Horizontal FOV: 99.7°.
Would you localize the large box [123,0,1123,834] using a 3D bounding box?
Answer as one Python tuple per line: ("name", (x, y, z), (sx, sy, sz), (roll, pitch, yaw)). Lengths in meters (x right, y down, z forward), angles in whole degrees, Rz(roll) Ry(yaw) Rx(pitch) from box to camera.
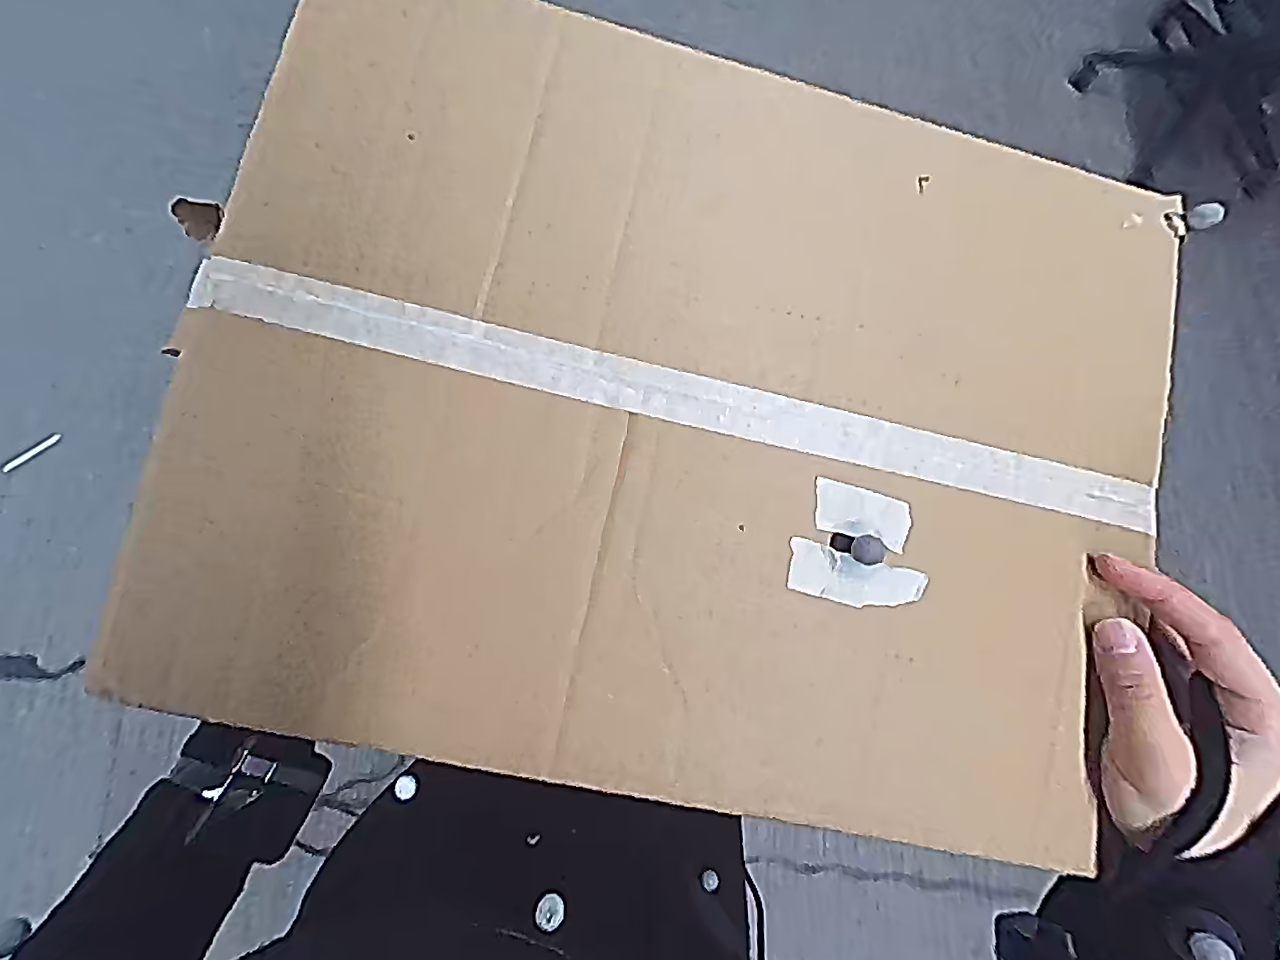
("large box", (0.007, -0.012, 0.384), (0.408, 0.320, 0.320), (12, 84, -6))
